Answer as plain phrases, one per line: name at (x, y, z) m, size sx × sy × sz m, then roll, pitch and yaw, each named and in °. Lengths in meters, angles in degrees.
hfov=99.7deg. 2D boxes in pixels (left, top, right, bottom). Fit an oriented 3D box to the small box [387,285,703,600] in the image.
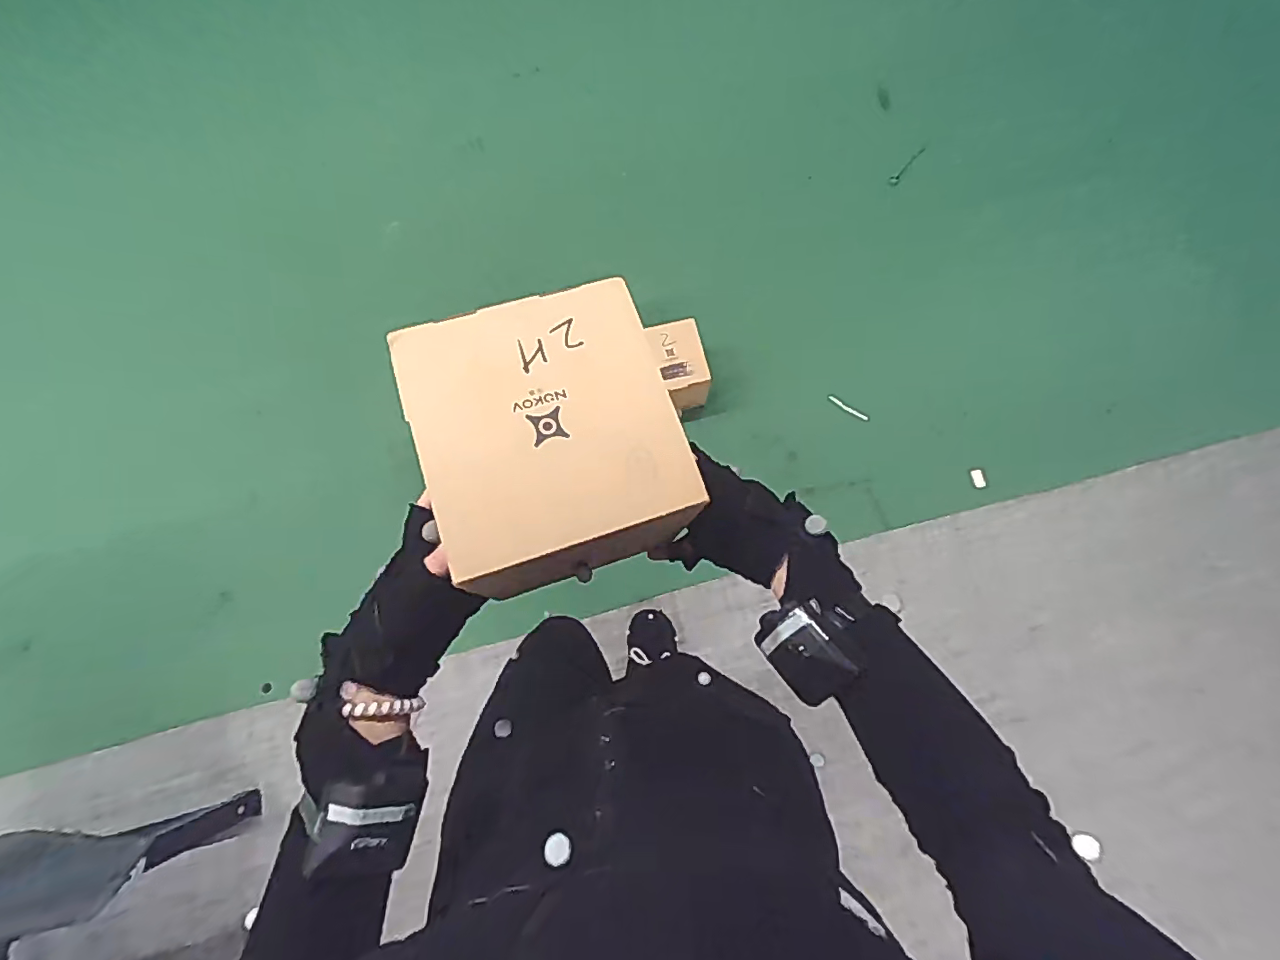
small box at (-0.068, -0.013, 0.420) m, size 0.168 × 0.176 × 0.179 m, roll -17°, pitch 76°, yaw -10°
